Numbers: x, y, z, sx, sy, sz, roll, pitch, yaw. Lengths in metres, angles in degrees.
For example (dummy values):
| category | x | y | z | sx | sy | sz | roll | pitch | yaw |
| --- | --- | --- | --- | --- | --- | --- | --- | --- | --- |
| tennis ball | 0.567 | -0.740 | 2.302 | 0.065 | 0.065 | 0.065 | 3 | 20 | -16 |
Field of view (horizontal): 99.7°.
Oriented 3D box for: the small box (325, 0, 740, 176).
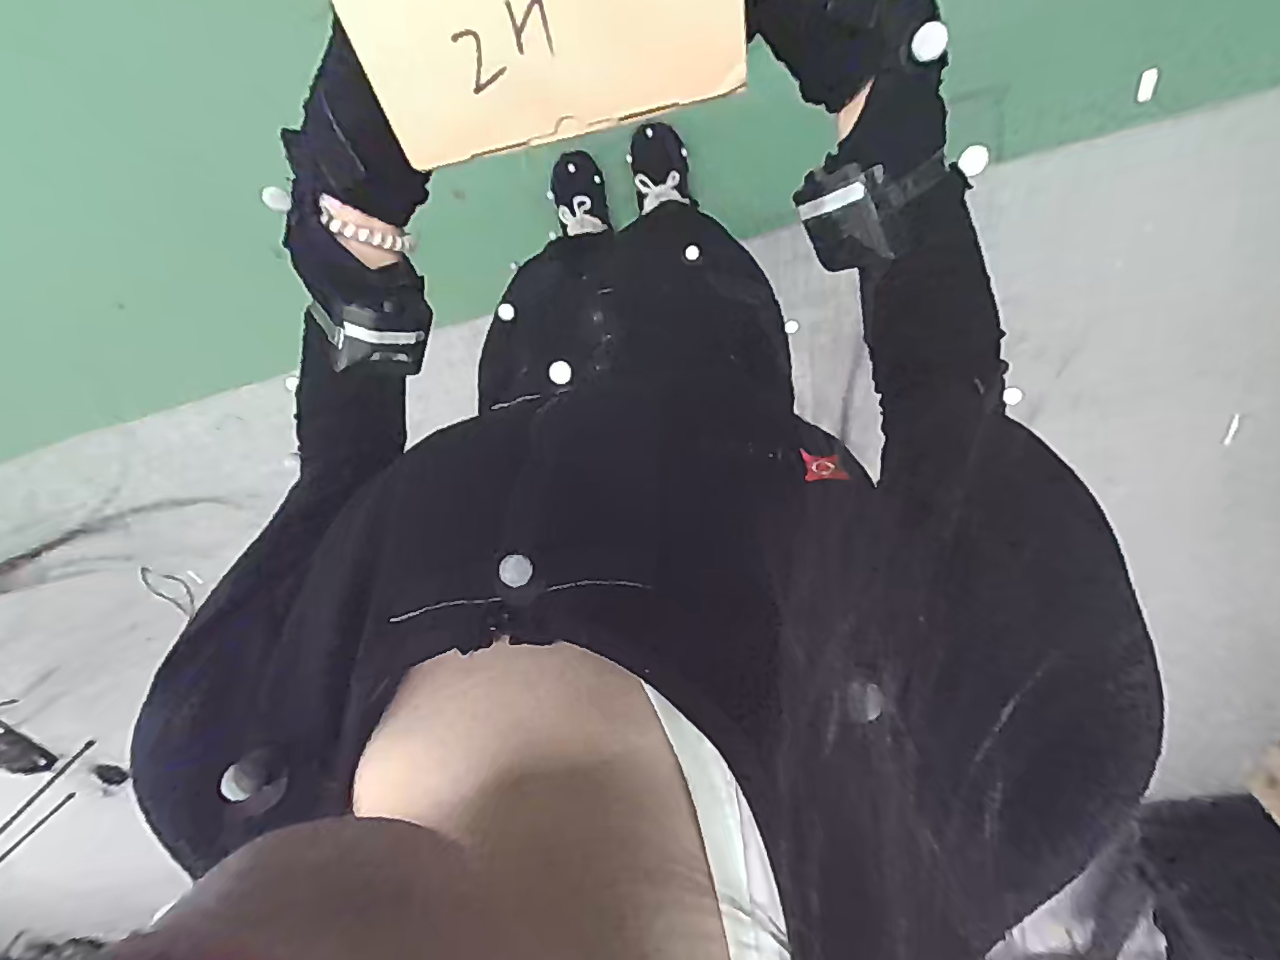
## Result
| category | x | y | z | sx | sy | sz | roll | pitch | yaw |
| --- | --- | --- | --- | --- | --- | --- | --- | --- | --- |
| small box | -0.050 | -0.277 | 0.250 | 0.168 | 0.176 | 0.179 | -7 | 136 | 11 |
